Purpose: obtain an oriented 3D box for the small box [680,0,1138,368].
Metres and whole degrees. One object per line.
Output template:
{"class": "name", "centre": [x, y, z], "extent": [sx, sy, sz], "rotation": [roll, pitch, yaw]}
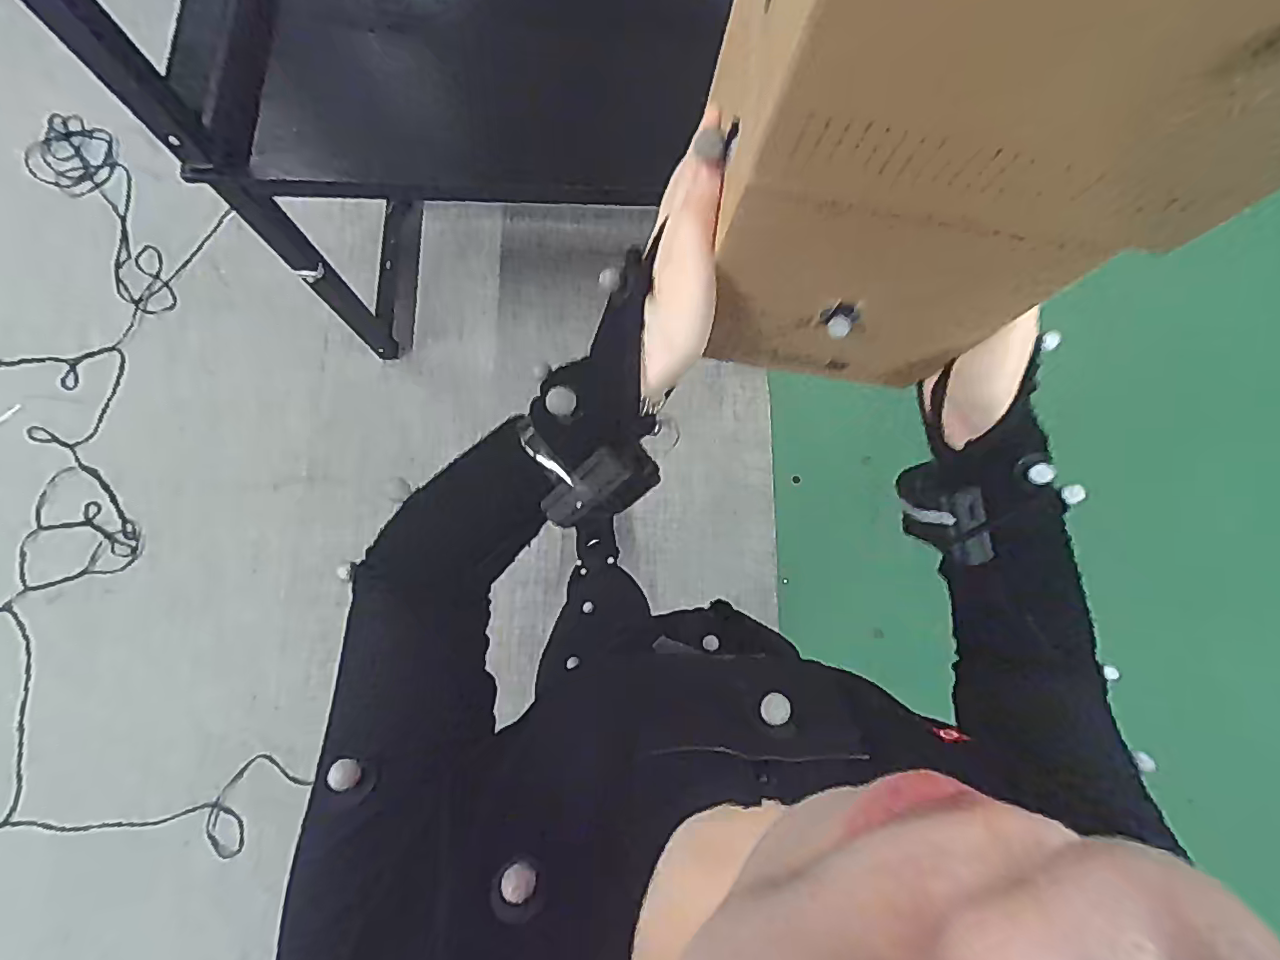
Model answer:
{"class": "small box", "centre": [0.122, -0.181, 0.305], "extent": [0.168, 0.176, 0.179], "rotation": [8, 77, -6]}
